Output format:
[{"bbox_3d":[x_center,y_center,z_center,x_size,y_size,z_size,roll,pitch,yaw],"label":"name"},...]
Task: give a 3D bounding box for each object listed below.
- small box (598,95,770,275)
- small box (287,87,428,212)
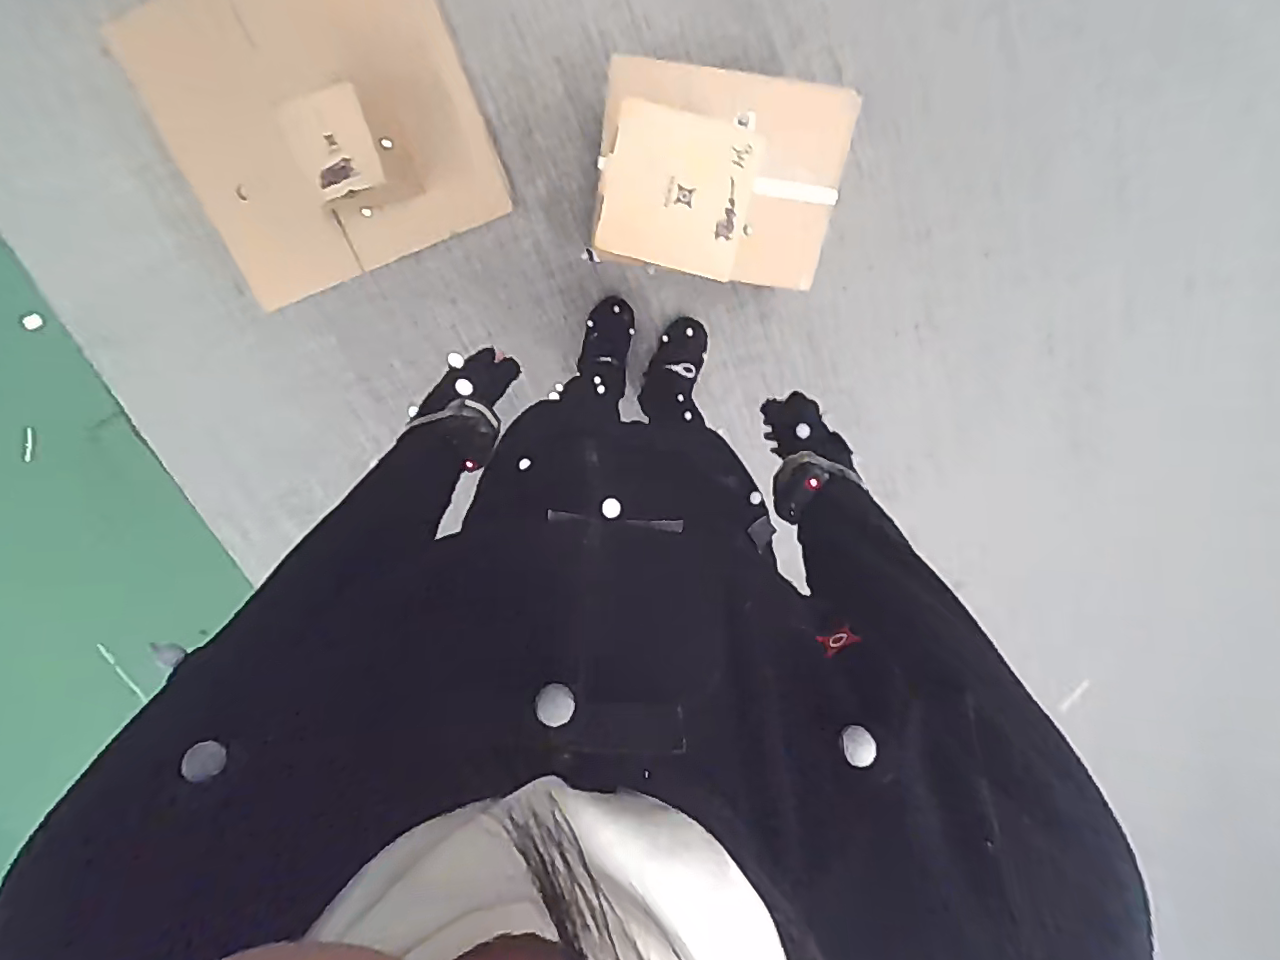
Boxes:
[{"bbox_3d":[0.054,-0.373,0.716,0.179,0.176,0.168,12,110,0],"label":"small box"},{"bbox_3d":[-0.574,-0.674,1.128,0.168,0.176,0.179,-11,109,9],"label":"small box"}]
